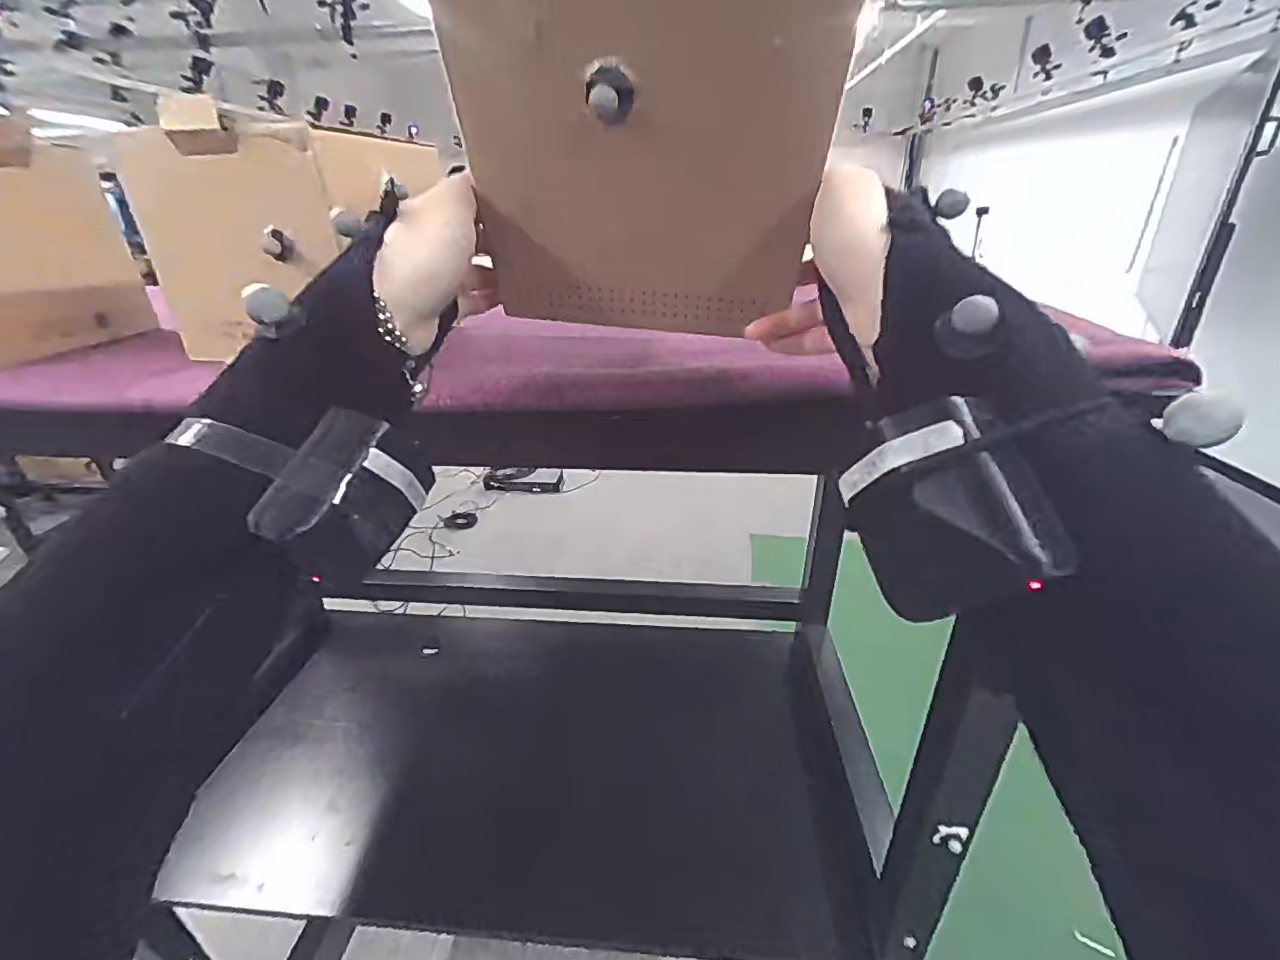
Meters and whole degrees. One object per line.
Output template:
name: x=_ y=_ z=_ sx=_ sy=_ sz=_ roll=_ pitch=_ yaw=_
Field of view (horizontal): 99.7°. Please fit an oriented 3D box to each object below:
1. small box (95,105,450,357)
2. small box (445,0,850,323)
small box: x=-0.284 y=-0.208 z=0.471 sx=0.168 sy=0.176 sz=0.179 roll=4 pitch=26 yaw=7
small box: x=0.012 y=-0.211 z=0.314 sx=0.179 sy=0.176 sz=0.168 roll=8 pitch=53 yaw=6
